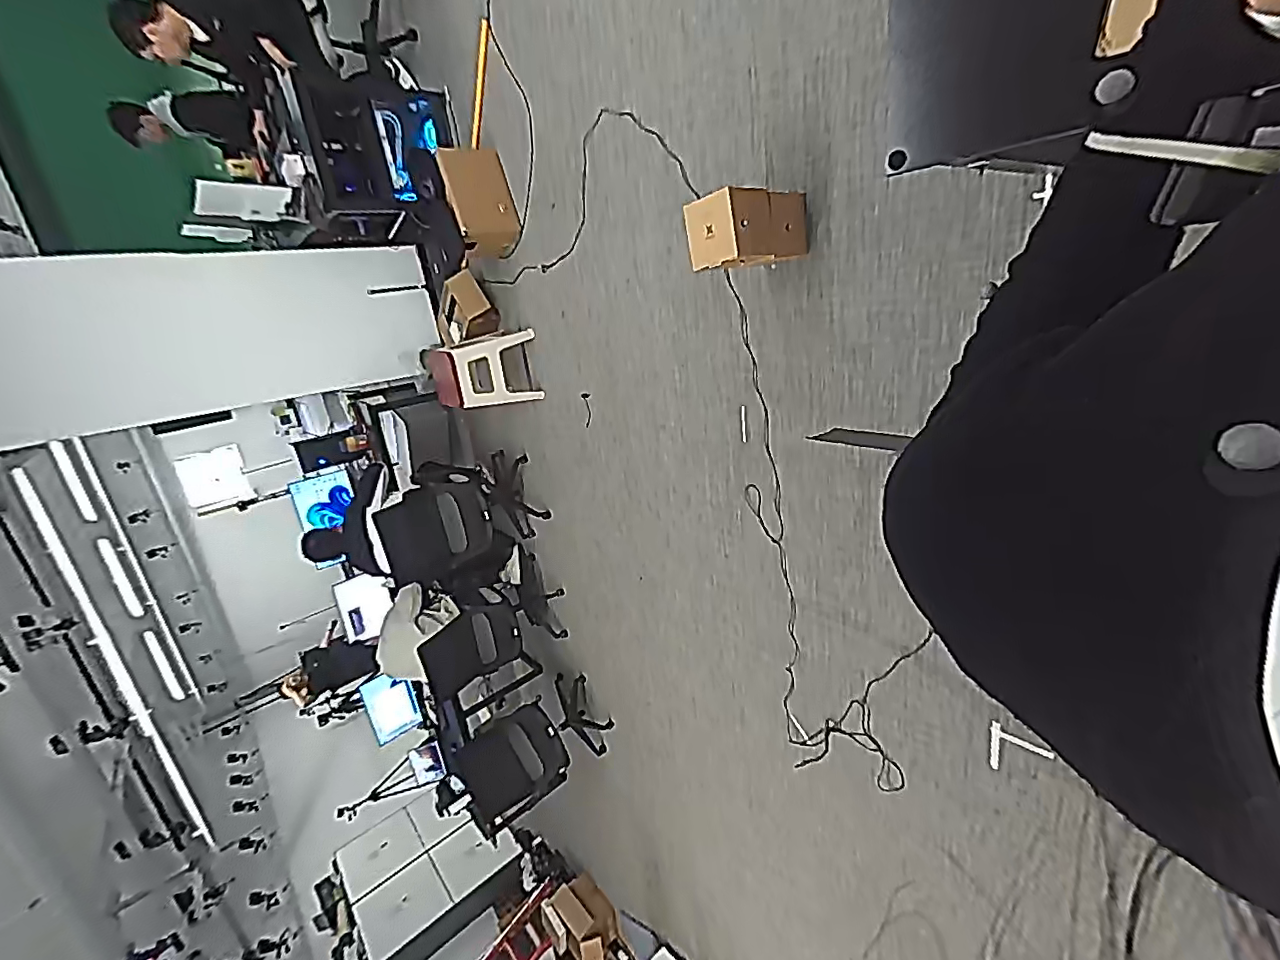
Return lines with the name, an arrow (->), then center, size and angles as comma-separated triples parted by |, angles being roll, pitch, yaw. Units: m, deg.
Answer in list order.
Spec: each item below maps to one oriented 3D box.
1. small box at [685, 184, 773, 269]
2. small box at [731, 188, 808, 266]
small box -> 0.251, -0.696, 1.492 | 0.168, 0.176, 0.179 | 5, 111, 50
small box -> 0.375, -0.739, 1.588 | 0.168, 0.176, 0.179 | 10, 116, 50
